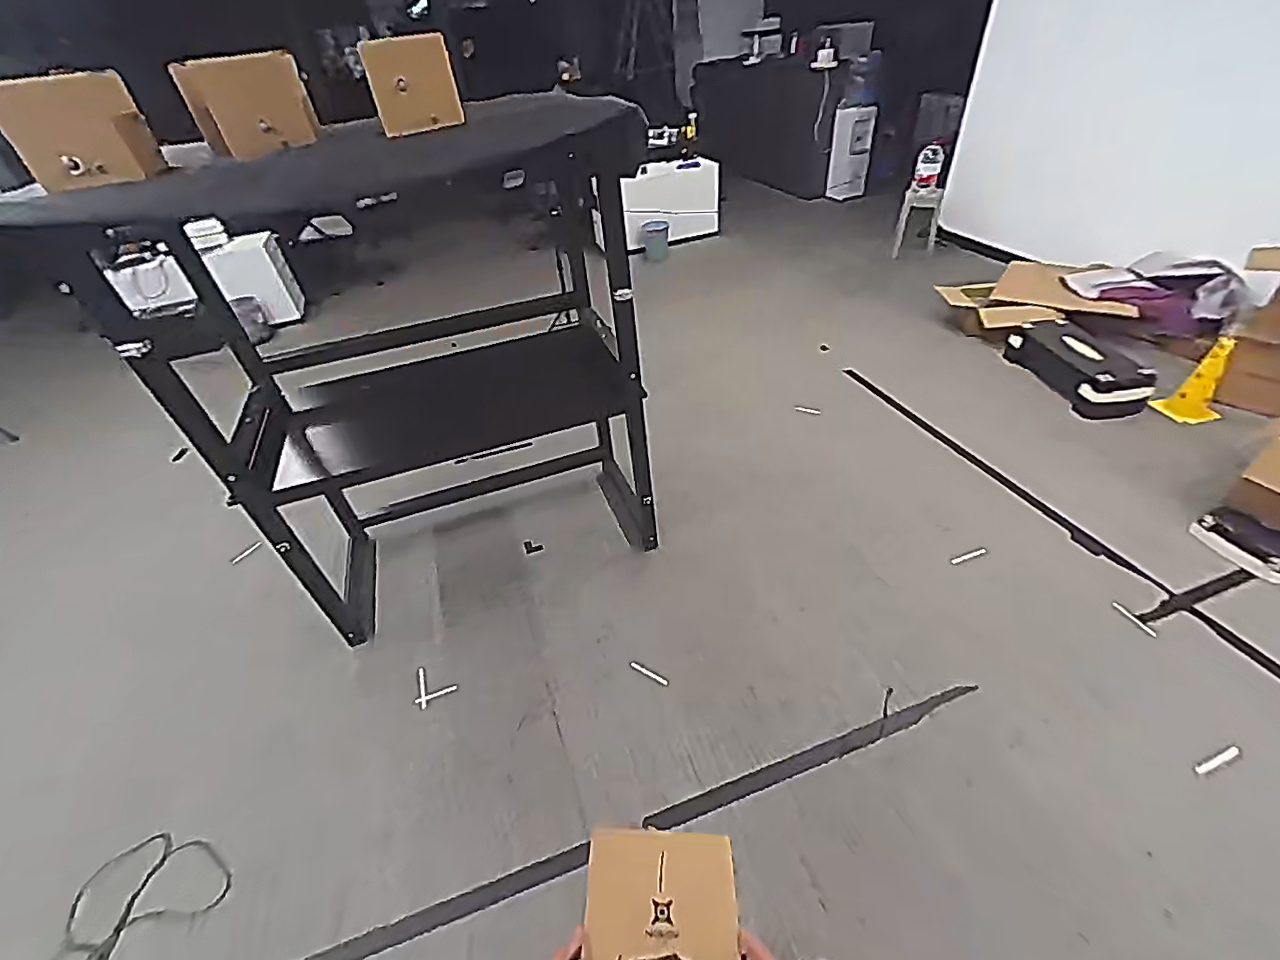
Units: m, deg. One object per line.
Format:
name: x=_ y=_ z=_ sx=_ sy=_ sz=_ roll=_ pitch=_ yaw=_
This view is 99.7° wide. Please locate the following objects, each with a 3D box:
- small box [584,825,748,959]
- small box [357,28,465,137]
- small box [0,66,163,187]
small box: x=0.025 y=0.522 z=0.610 sx=0.168 sy=0.176 sz=0.179 roll=3 pitch=37 yaw=-1
small box: x=-0.487 y=-0.849 z=1.163 sx=0.168 sy=0.176 sz=0.179 roll=-17 pitch=39 yaw=-13
small box: x=-1.052 y=-0.663 z=1.016 sx=0.168 sy=0.176 sz=0.179 roll=-18 pitch=41 yaw=-14
